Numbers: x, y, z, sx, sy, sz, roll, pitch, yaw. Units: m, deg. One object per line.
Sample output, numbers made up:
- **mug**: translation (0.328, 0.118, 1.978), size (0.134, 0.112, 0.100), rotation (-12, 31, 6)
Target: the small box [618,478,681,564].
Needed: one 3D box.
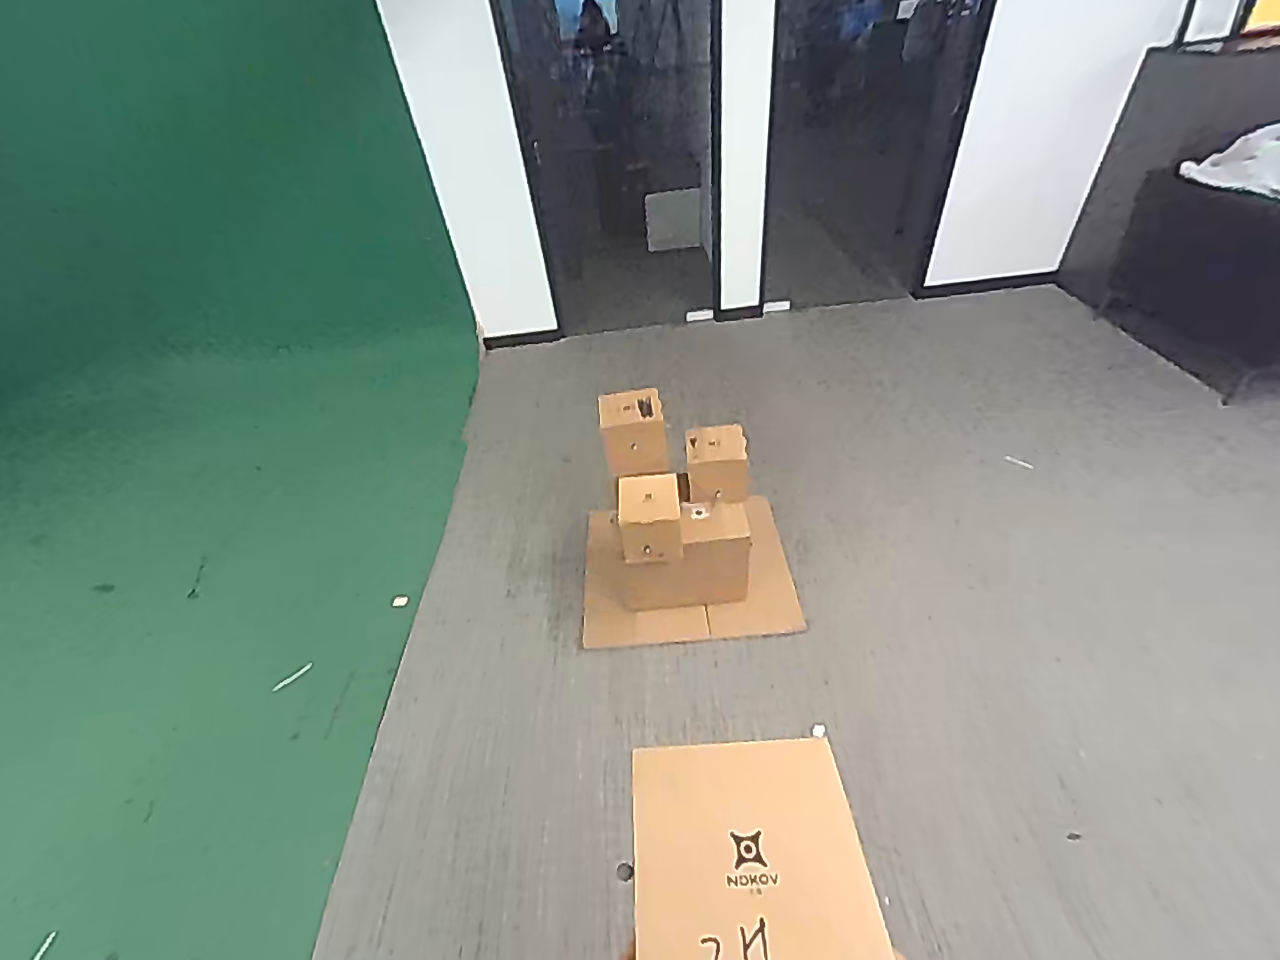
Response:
- **small box**: translation (0.029, 0.116, 1.523), size (0.168, 0.176, 0.179), rotation (-4, 43, 2)

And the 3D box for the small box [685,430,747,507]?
- **small box**: translation (0.231, -0.034, 1.662), size (0.179, 0.176, 0.168), rotation (-4, 42, 6)

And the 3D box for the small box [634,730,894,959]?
- **small box**: translation (0.081, 0.330, 0.437), size (0.168, 0.176, 0.179), rotation (-4, 37, 1)
